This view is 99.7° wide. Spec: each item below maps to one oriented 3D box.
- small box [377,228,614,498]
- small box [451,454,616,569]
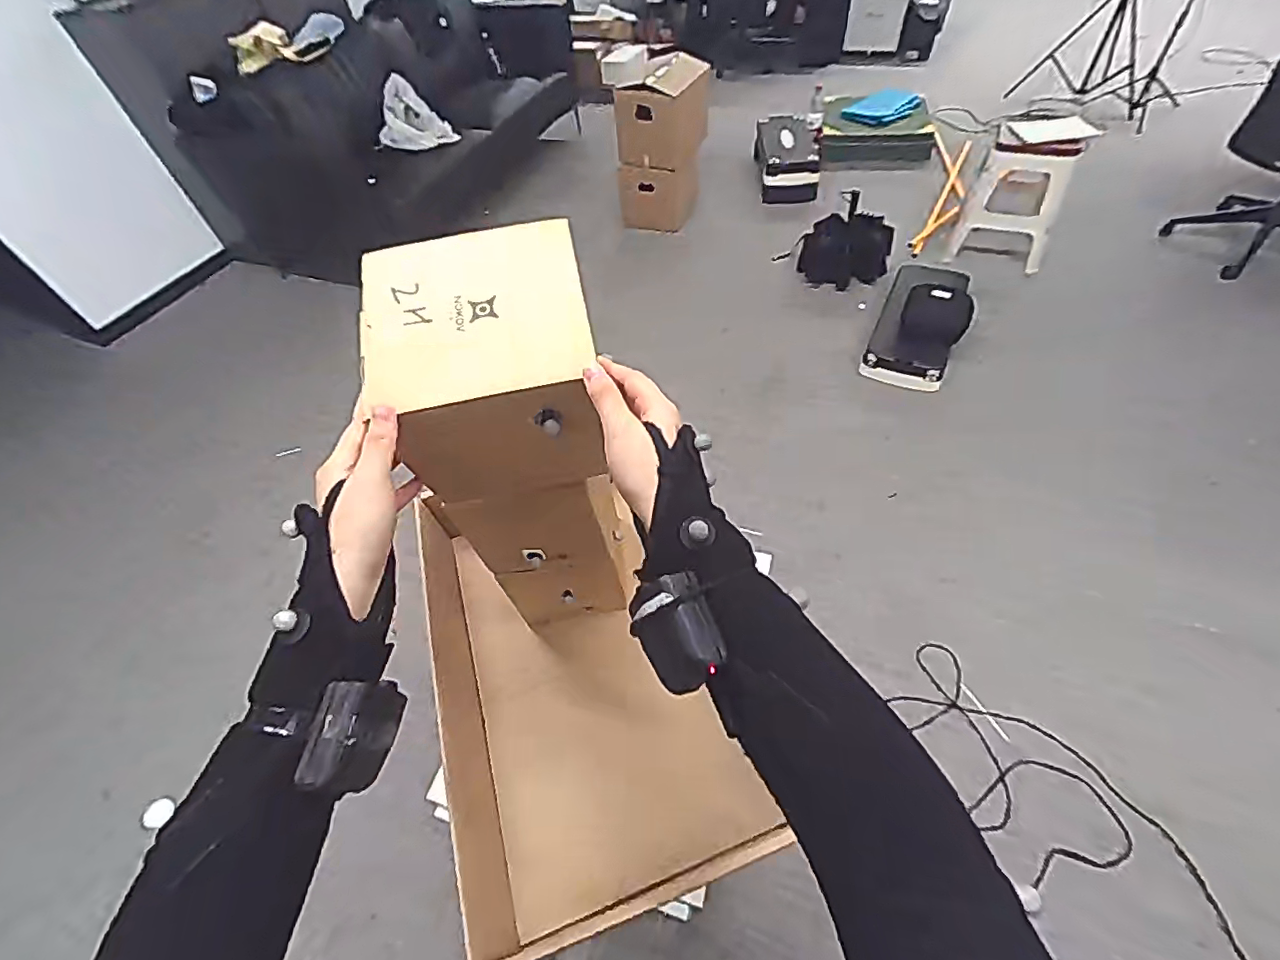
[{"bbox_3d":[-0.124,-0.100,0.513,0.179,0.176,0.168,-12,65,-2],"label":"small box"},{"bbox_3d":[-0.127,-0.004,0.715,0.168,0.176,0.179,-8,53,4],"label":"small box"}]
